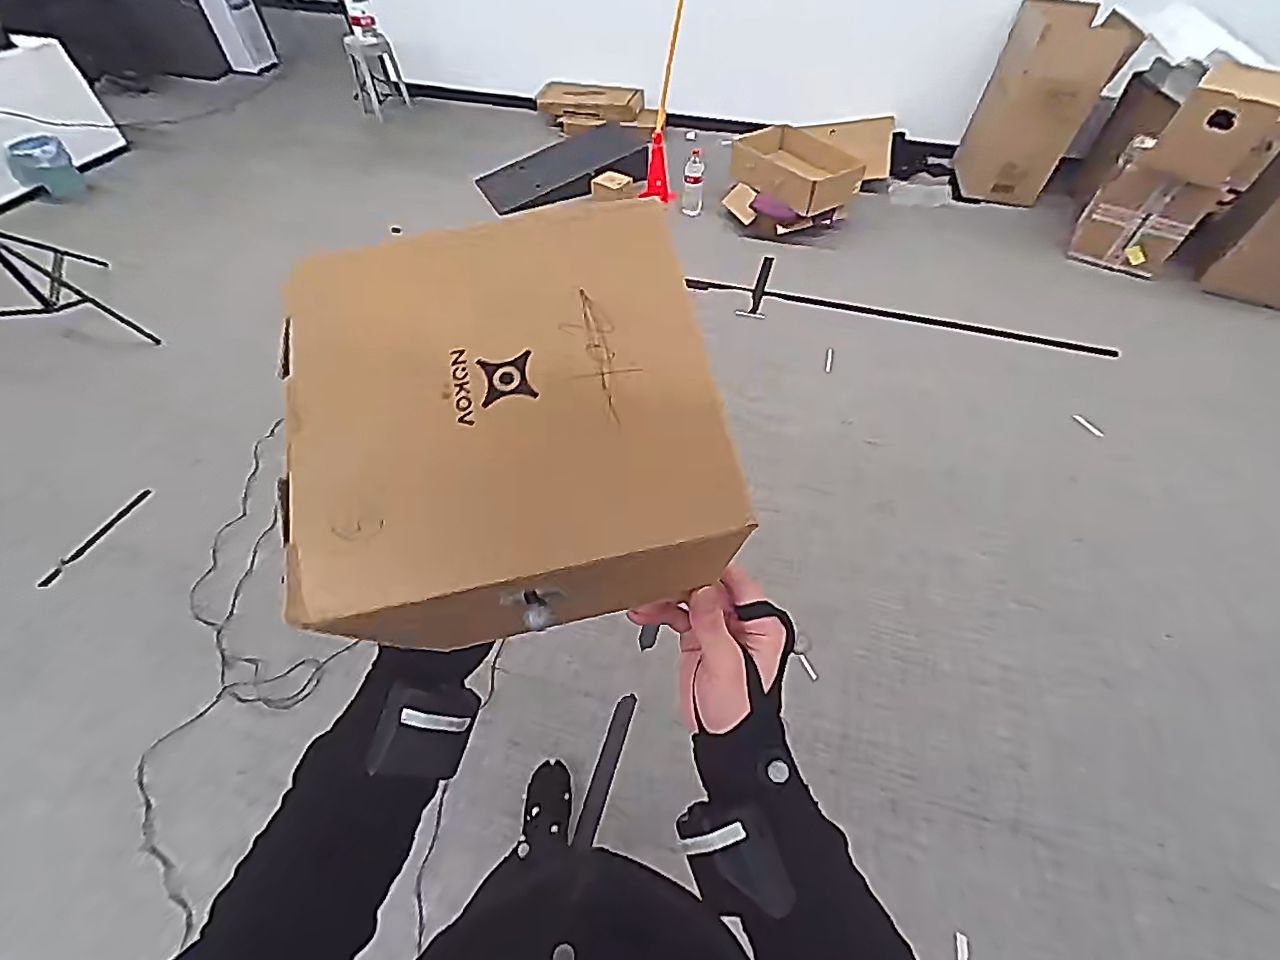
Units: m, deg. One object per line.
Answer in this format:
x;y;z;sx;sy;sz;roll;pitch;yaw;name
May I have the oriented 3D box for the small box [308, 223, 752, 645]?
-0.054;-0.008;0.310;0.179;0.176;0.168;-12;71;-4;small box
